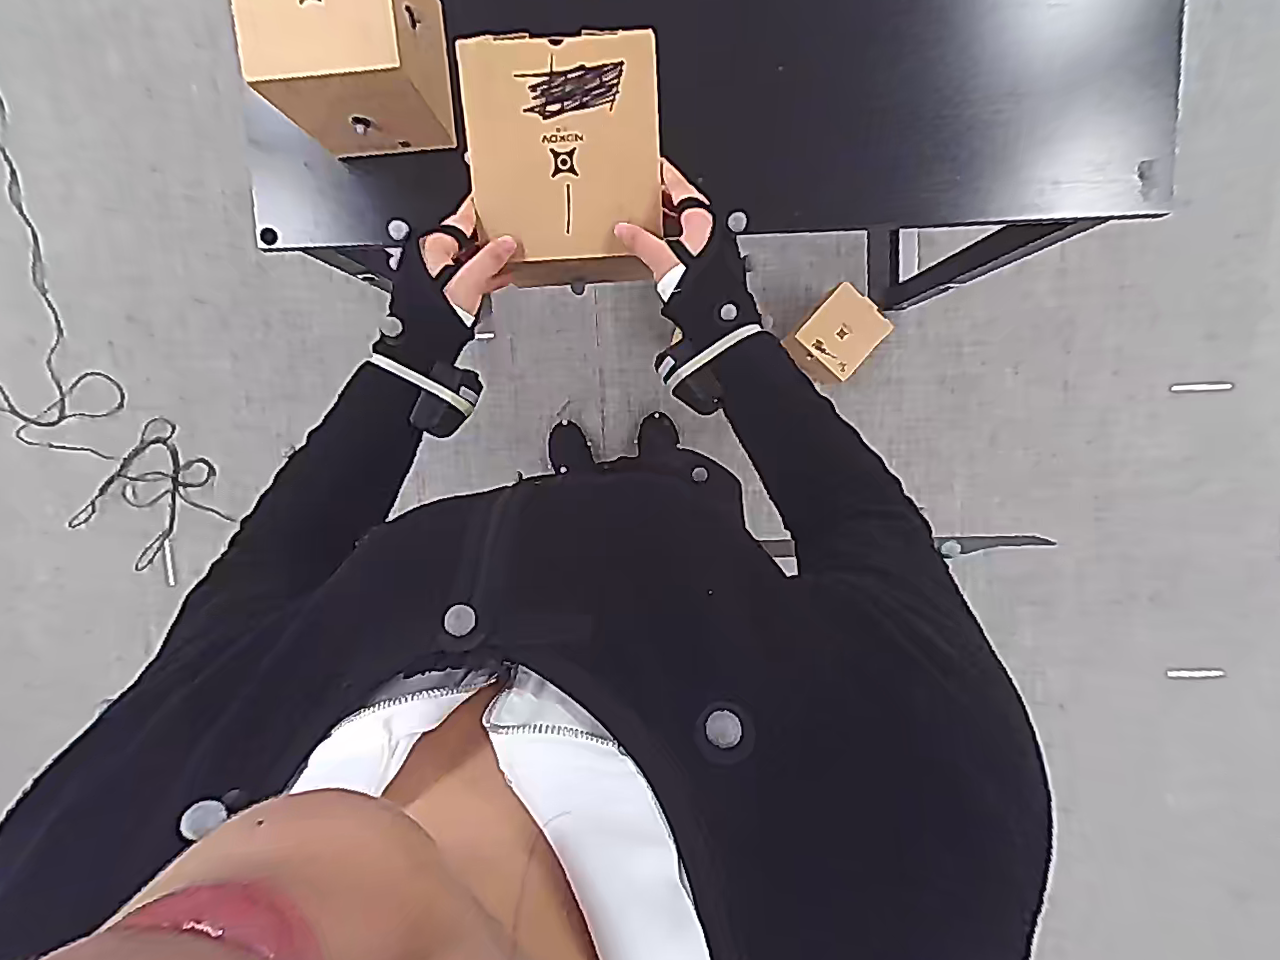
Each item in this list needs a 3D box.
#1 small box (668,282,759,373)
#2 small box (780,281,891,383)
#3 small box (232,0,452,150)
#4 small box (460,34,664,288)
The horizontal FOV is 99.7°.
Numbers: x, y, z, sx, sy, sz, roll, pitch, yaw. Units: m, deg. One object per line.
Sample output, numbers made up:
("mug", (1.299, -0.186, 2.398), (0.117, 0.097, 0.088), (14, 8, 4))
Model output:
("small box", (0.178, -0.376, 1.367), (0.179, 0.176, 0.168), (19, 96, 0))
("small box", (0.480, -0.363, 1.361), (0.168, 0.176, 0.179), (41, 96, -3))
("small box", (-0.331, -0.507, 0.624), (0.168, 0.176, 0.179), (-4, 96, 1))
("small box", (-0.066, -0.298, 0.541), (0.168, 0.176, 0.179), (-3, 103, 0))
